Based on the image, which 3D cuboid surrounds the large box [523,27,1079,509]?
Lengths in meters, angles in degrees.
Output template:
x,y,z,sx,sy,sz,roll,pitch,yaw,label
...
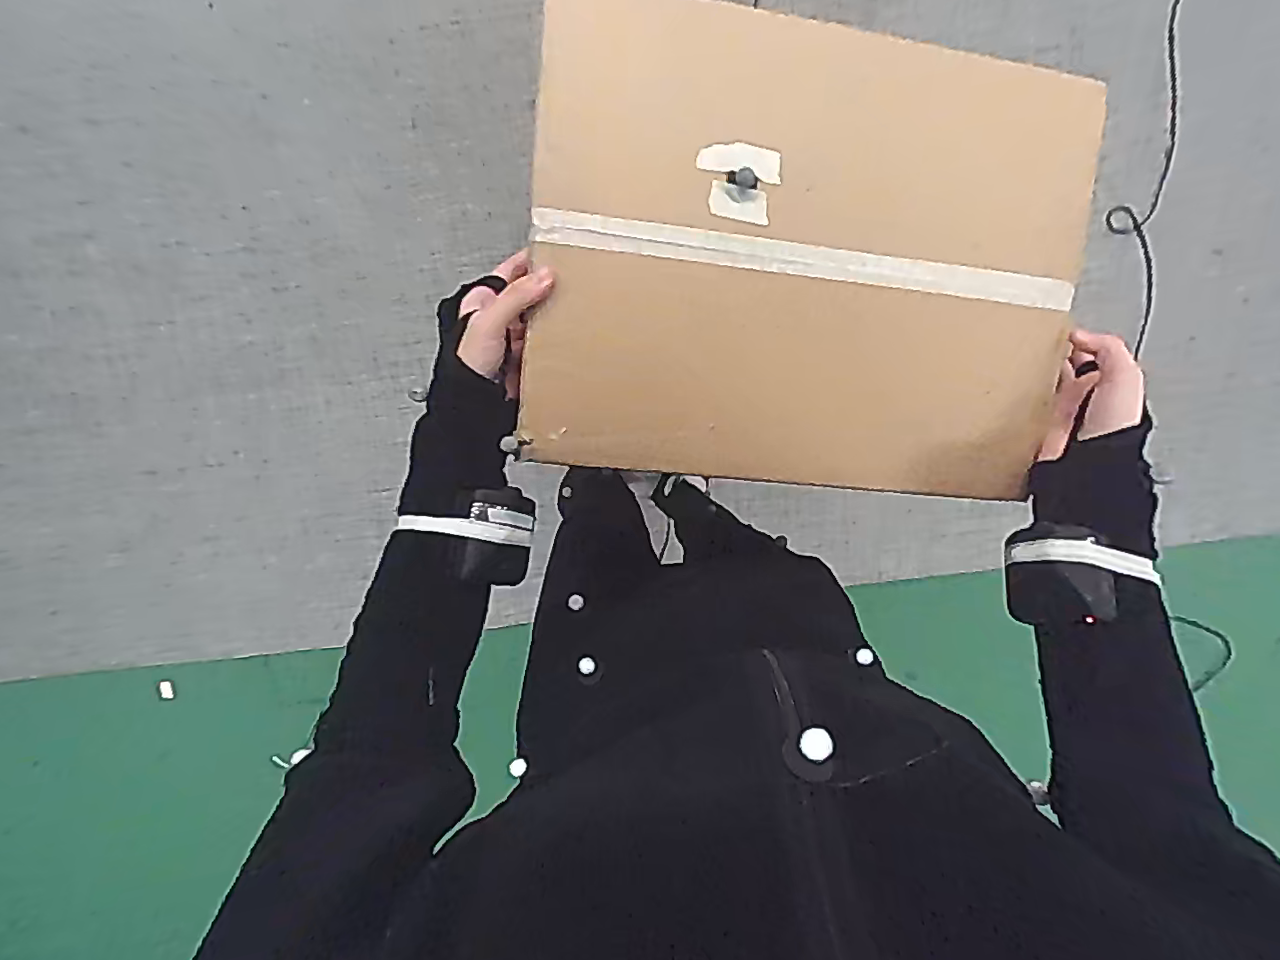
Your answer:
x,y,z,sx,sy,sz,roll,pitch,yaw,label
0.107,-0.162,0.549,0.408,0.320,0.320,5,97,-7,large box
